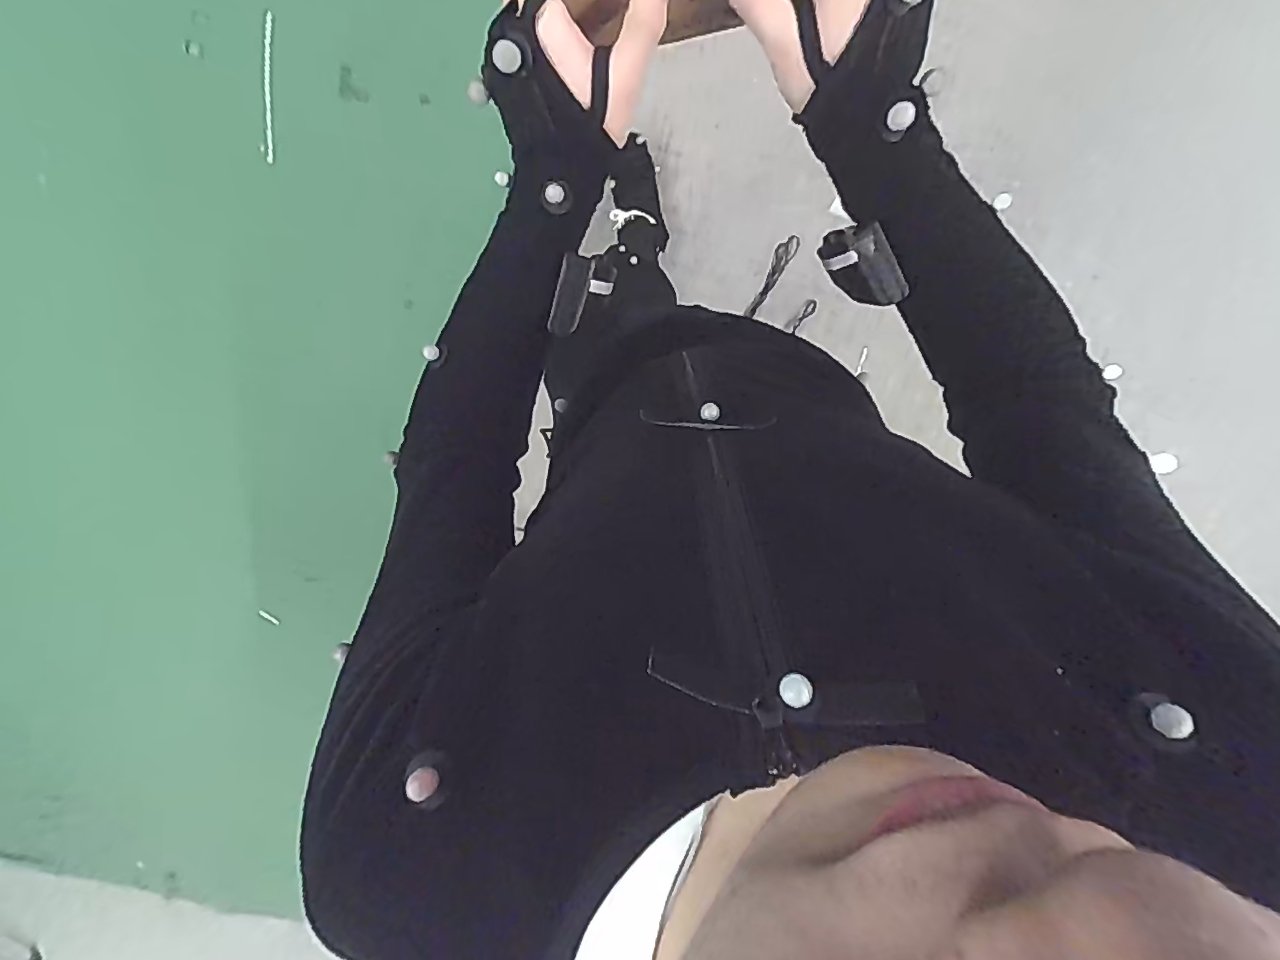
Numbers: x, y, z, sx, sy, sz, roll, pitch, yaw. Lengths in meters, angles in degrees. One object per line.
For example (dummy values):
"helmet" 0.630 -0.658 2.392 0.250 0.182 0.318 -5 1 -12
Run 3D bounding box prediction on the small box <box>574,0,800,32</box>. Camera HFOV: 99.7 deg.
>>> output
"small box" 0.023 -0.369 0.270 0.168 0.176 0.179 -5 103 9
